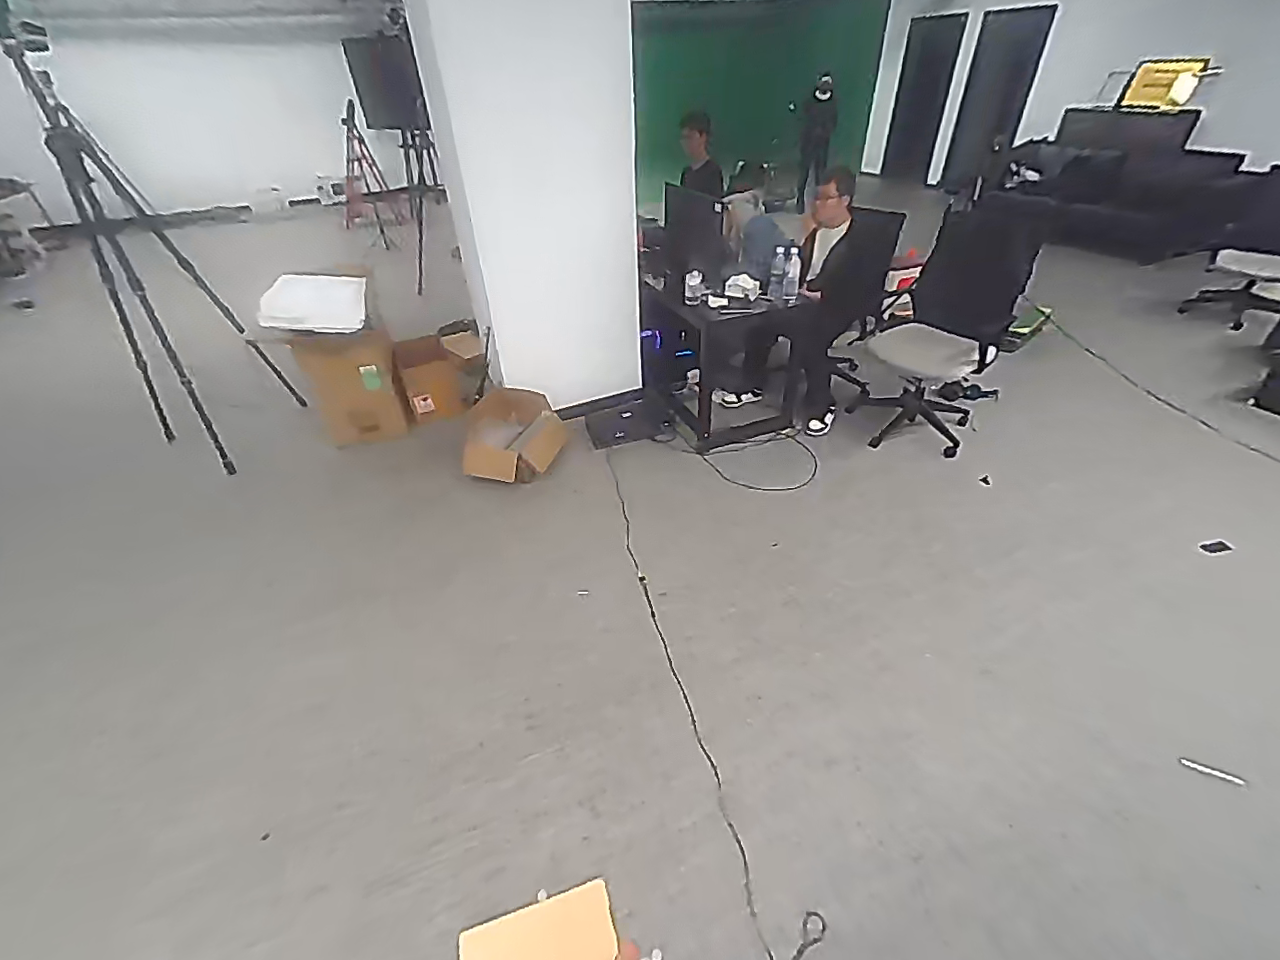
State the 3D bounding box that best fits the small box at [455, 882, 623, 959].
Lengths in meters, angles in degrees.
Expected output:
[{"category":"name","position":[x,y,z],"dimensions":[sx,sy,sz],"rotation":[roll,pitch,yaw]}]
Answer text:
[{"category":"small box","position":[-0.102,0.612,0.628],"dimensions":[0.179,0.176,0.168],"rotation":[-13,44,-13]}]
